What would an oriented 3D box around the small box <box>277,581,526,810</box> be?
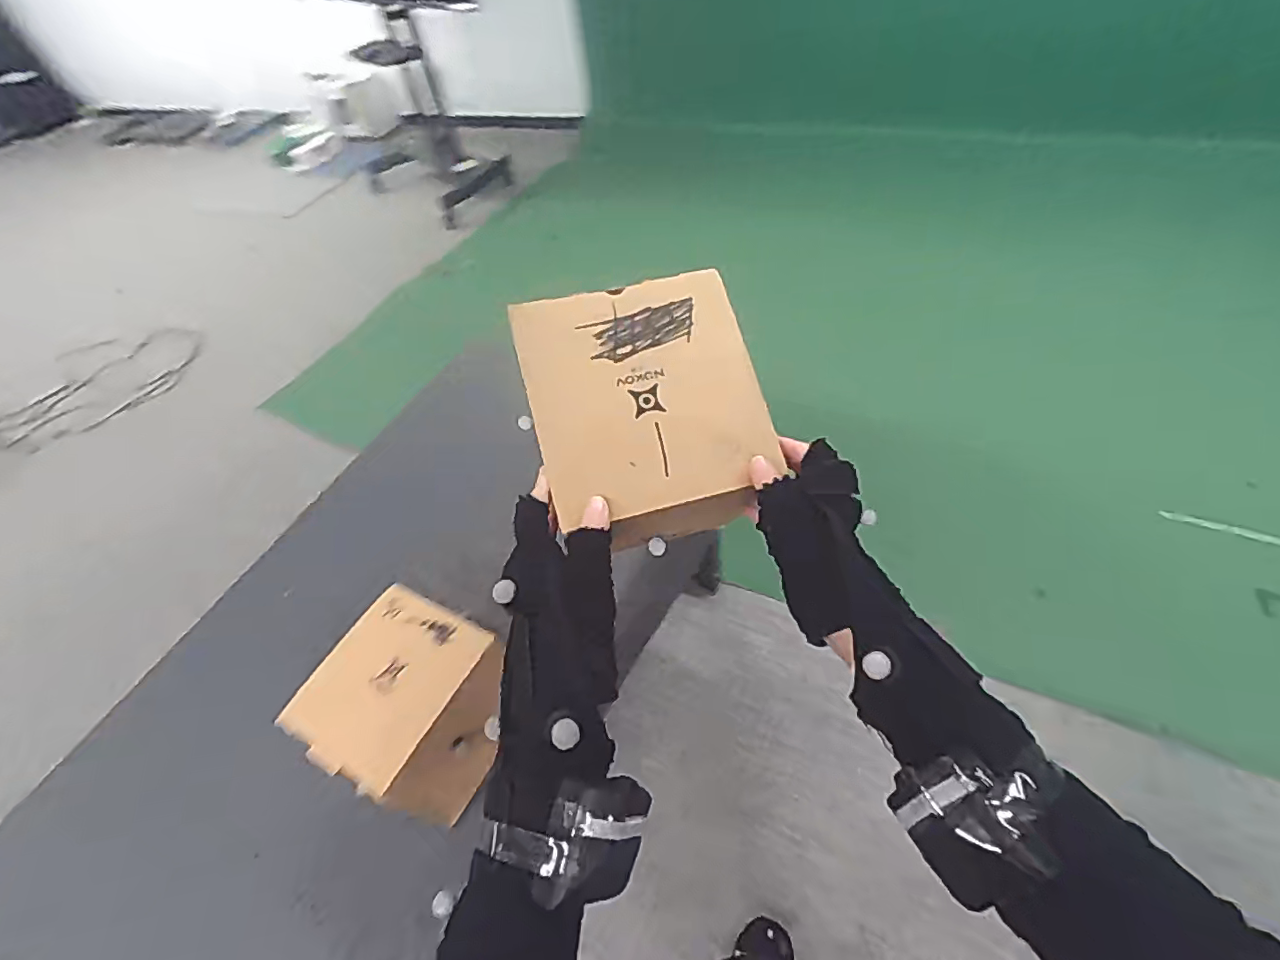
[{"bbox_3d":[-0.261,0.256,0.638,0.168,0.176,0.179,18,58,24],"label":"small box"}]
